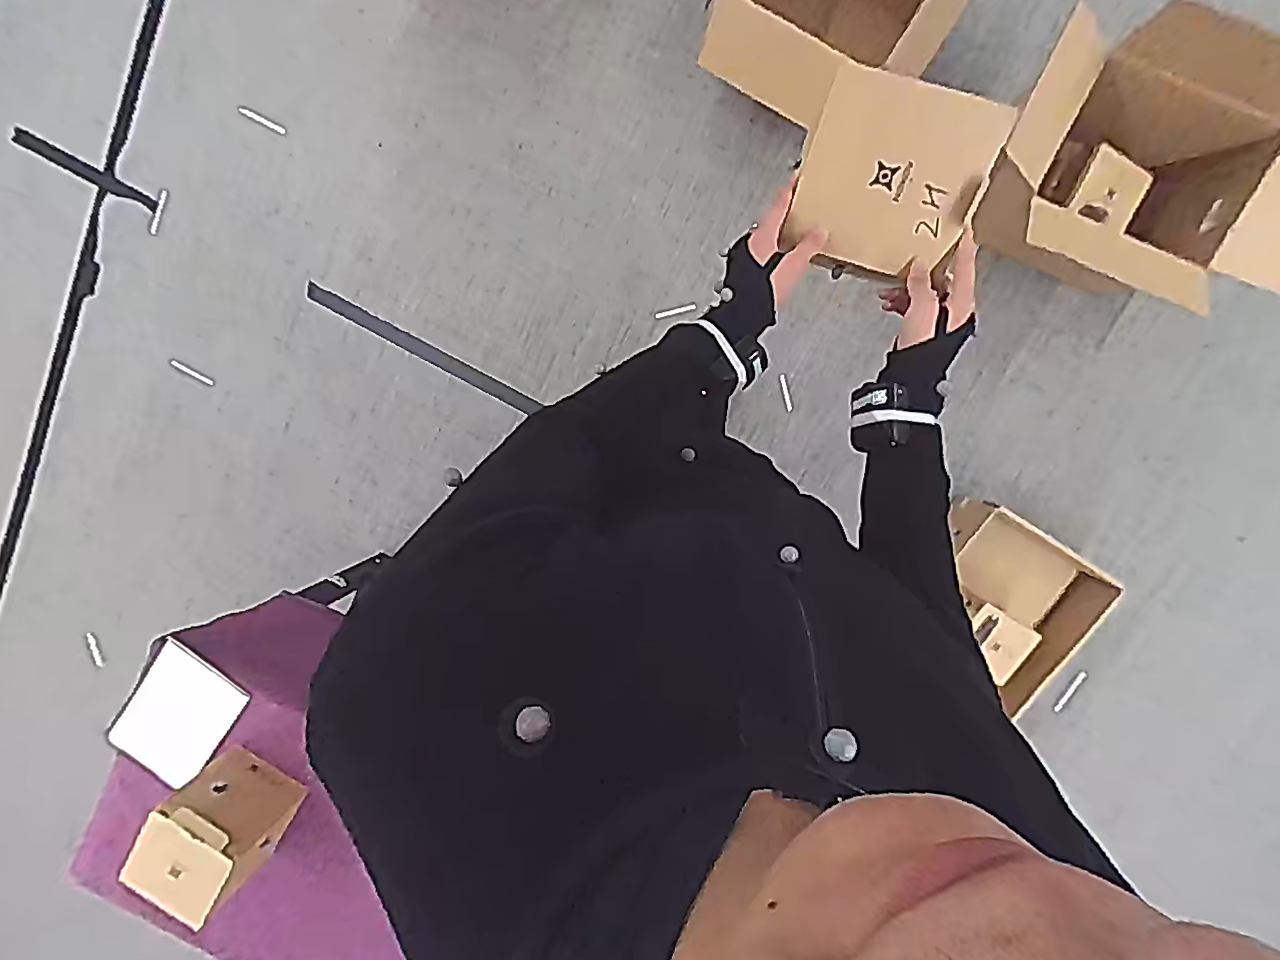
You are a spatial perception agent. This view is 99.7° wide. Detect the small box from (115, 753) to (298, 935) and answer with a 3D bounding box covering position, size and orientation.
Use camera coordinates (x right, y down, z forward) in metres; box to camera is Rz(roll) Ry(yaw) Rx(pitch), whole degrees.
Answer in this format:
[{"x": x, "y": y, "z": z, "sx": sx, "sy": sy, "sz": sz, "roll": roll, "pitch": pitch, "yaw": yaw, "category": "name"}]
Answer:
[{"x": -0.761, "y": 0.638, "z": 0.971, "sx": 0.168, "sy": 0.176, "sz": 0.179, "roll": 33, "pitch": 100, "yaw": 1, "category": "small box"}]
